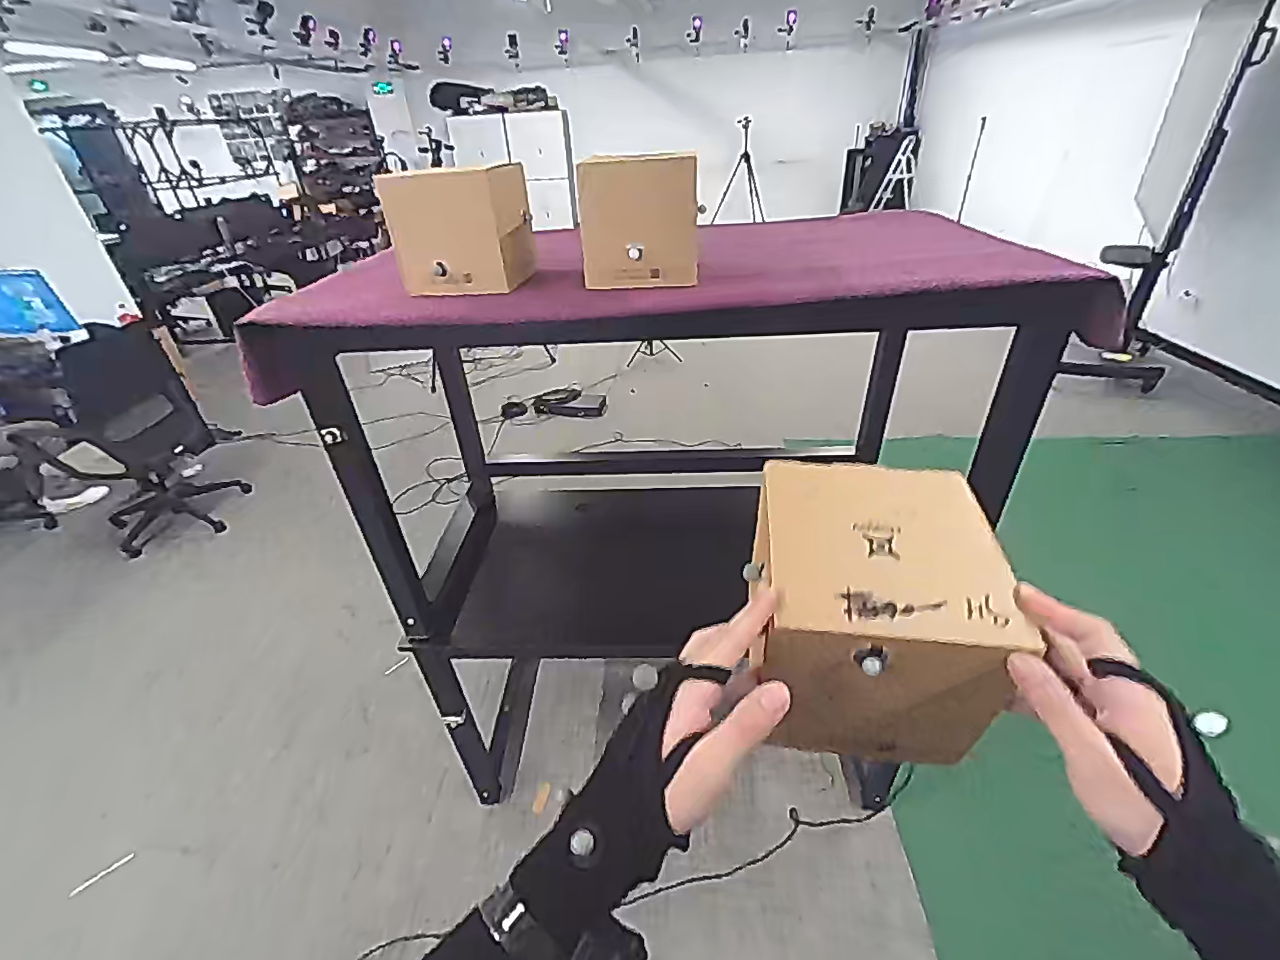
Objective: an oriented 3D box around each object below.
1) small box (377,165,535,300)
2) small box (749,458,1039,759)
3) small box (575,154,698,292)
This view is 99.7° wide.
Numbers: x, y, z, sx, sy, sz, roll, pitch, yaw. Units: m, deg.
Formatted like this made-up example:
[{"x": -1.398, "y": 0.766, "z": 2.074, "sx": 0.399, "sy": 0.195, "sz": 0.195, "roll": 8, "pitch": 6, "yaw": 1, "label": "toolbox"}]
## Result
[{"x": -0.273, "y": -0.389, "z": 0.850, "sx": 0.168, "sy": 0.176, "sz": 0.179, "roll": 0, "pitch": 33, "yaw": 7, "label": "small box"}, {"x": 0.181, "y": 0.102, "z": 0.456, "sx": 0.168, "sy": 0.176, "sz": 0.179, "roll": 3, "pitch": 40, "yaw": 9, "label": "small box"}, {"x": 0.004, "y": -0.393, "z": 0.825, "sx": 0.168, "sy": 0.176, "sz": 0.179, "roll": 0, "pitch": 33, "yaw": 6, "label": "small box"}]
